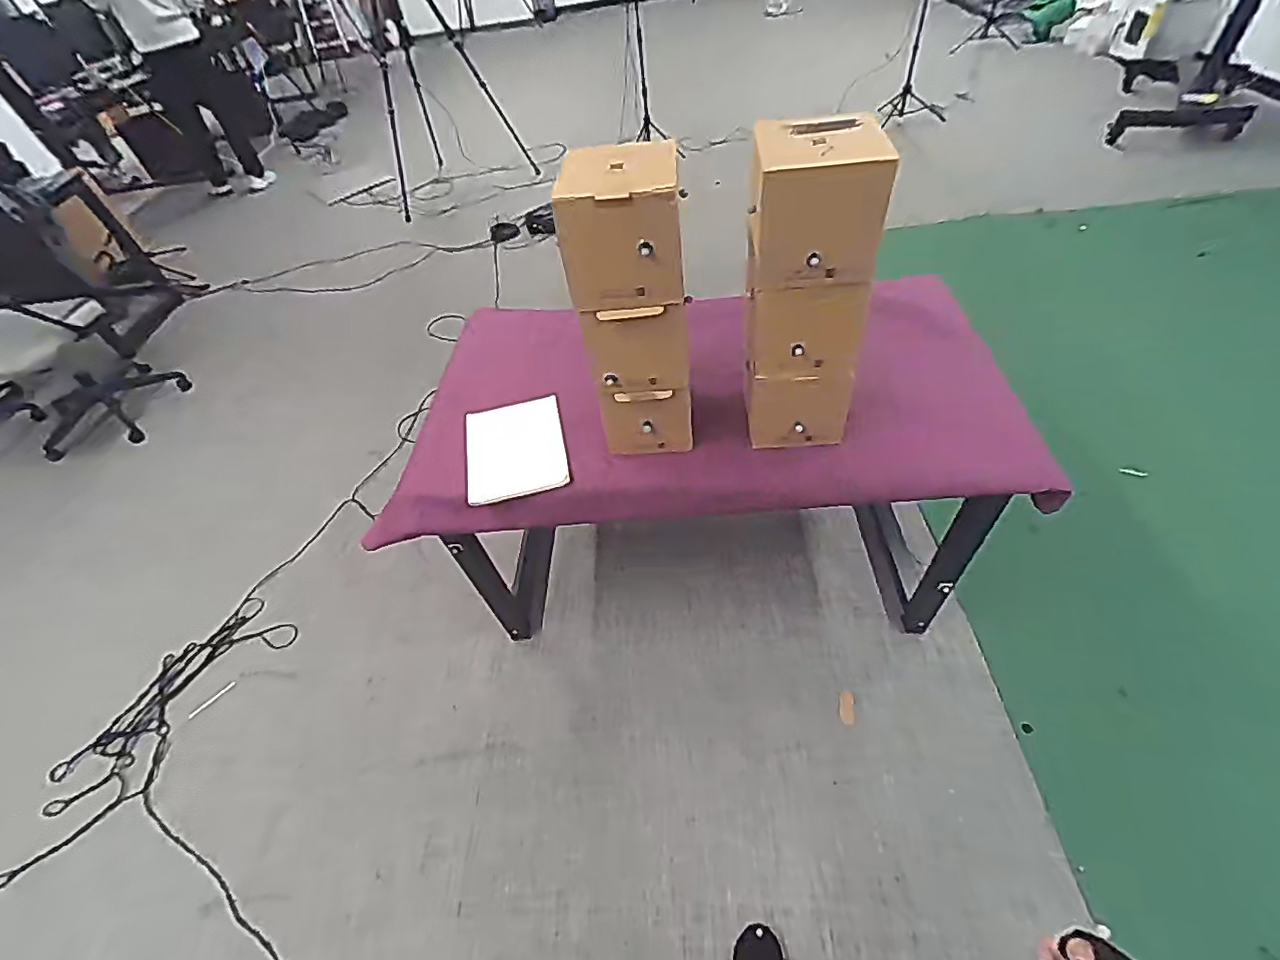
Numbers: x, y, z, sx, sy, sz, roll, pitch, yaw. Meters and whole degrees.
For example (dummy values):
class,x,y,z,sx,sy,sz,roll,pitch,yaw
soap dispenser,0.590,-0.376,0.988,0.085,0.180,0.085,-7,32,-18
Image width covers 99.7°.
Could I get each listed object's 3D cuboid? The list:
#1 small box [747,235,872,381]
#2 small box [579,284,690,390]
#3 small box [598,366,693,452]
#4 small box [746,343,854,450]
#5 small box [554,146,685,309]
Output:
class,x,y,z,sx,sy,sz,roll,pitch,yaw
small box,0.272,-0.288,0.912,0.168,0.176,0.179,-2,49,7
small box,0.000,-0.268,0.936,0.168,0.176,0.179,-3,49,7
small box,0.019,-0.167,1.065,0.168,0.176,0.179,-2,50,6
small box,0.292,-0.177,1.030,0.168,0.176,0.179,-3,49,8
small box,-0.018,-0.370,0.810,0.168,0.176,0.179,-2,49,7
